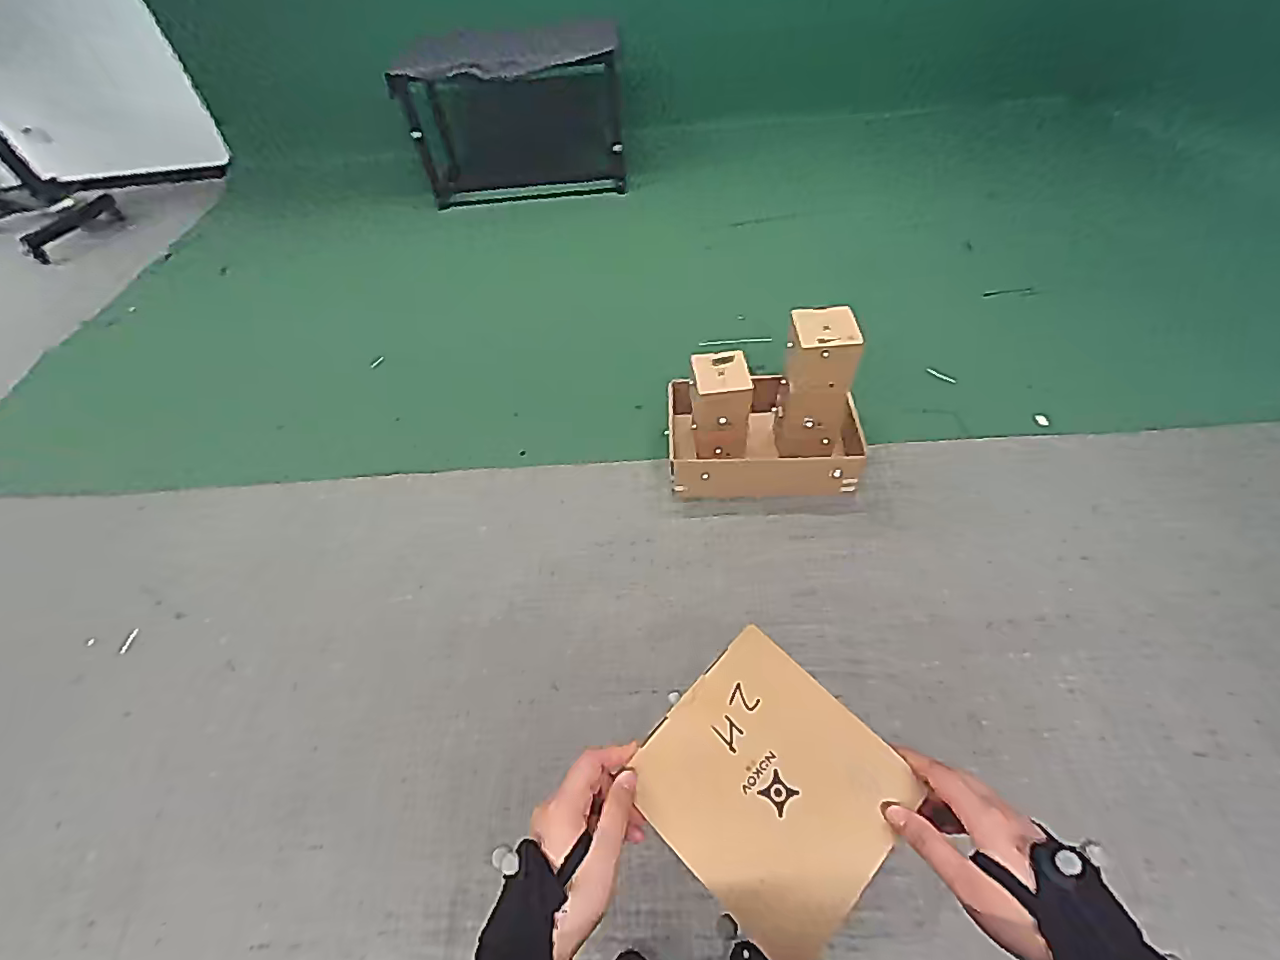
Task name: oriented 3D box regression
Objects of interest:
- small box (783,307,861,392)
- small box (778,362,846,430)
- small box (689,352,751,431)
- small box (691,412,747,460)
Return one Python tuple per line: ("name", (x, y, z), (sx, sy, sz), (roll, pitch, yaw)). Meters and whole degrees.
("small box", (0.518, -0.377, 1.566), (0.168, 0.176, 0.179), (-4, 51, 4))
("small box", (0.532, -0.276, 1.695), (0.168, 0.176, 0.179), (-1, 53, 6))
("small box", (0.248, -0.281, 1.725), (0.168, 0.176, 0.179), (-6, 53, -1))
("small box", (0.266, -0.188, 1.861), (0.168, 0.176, 0.179), (-5, 52, 0))
